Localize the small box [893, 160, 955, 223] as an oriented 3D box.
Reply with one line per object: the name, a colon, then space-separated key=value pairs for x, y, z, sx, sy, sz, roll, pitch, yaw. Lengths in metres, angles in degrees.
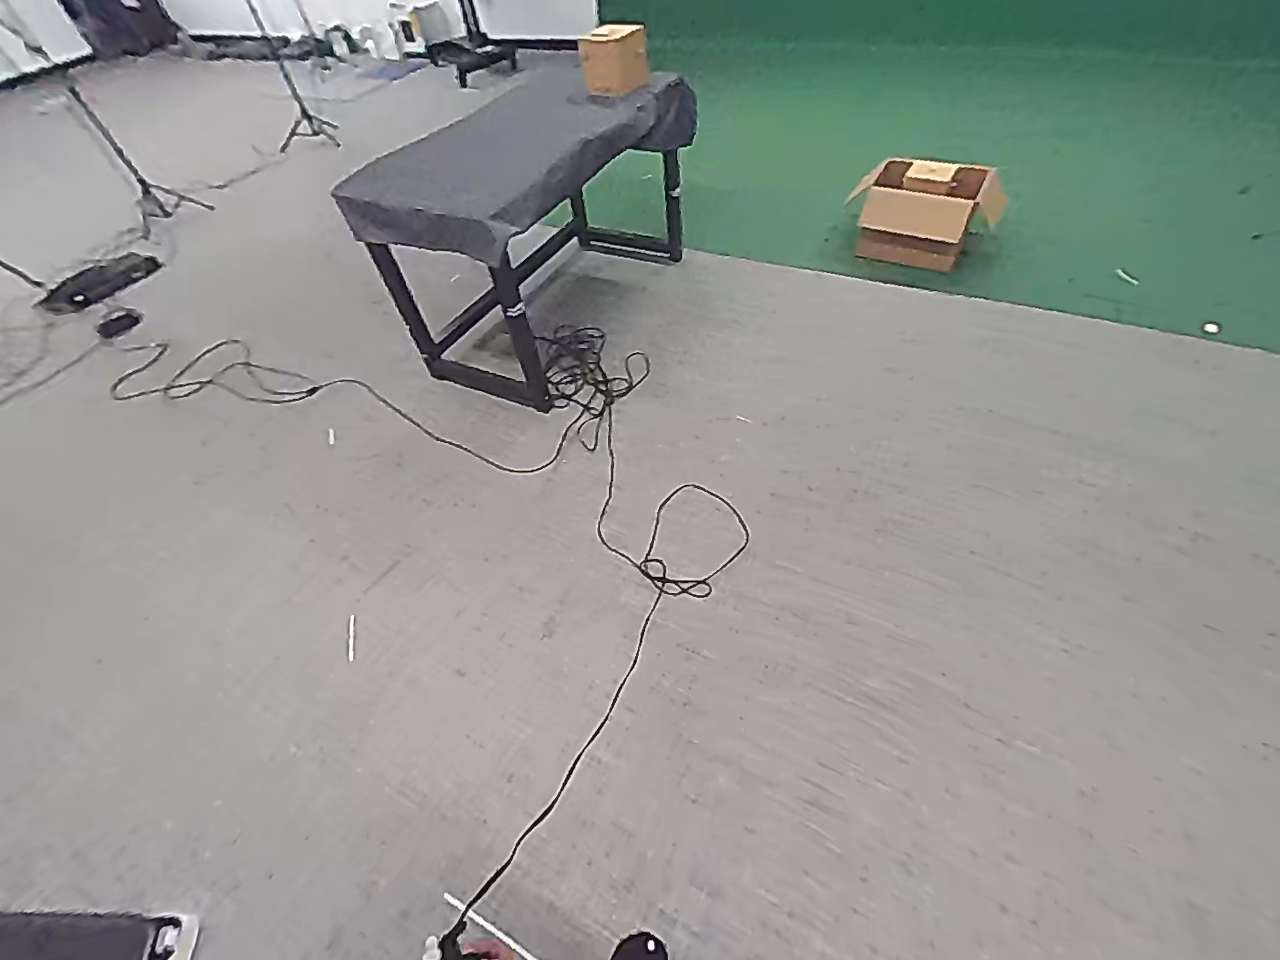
small box: x=1.175 y=-1.196 z=2.244 sx=0.168 sy=0.176 sz=0.179 roll=23 pitch=56 yaw=23
